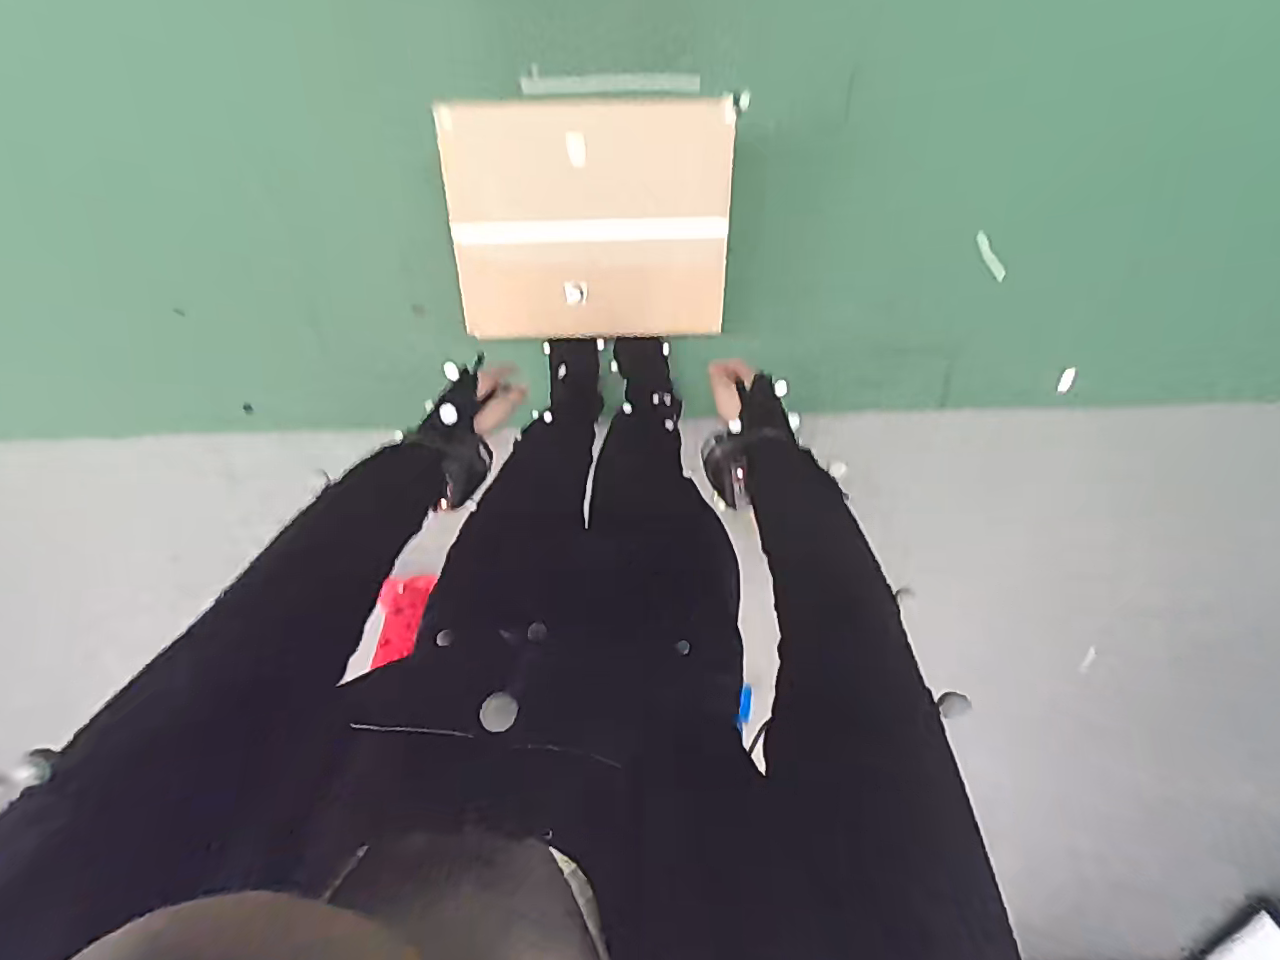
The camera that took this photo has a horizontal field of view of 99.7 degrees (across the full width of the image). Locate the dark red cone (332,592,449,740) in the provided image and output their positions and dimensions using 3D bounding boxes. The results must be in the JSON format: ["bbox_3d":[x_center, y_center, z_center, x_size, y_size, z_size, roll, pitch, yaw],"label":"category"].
[{"bbox_3d":[-0.644,0.466,1.345,0.202,0.394,0.201,-8,116,4],"label":"dark red cone"}]
